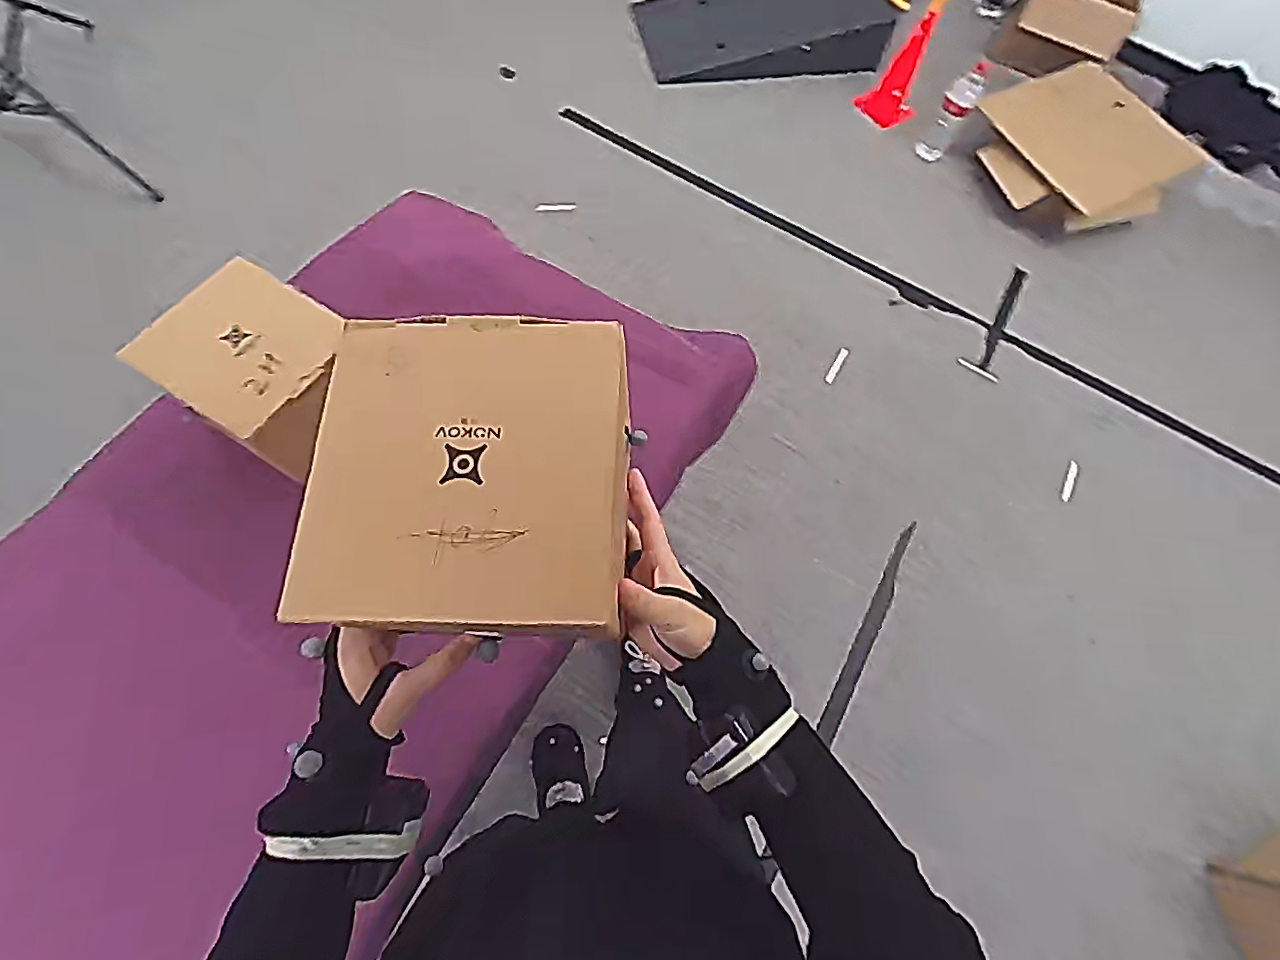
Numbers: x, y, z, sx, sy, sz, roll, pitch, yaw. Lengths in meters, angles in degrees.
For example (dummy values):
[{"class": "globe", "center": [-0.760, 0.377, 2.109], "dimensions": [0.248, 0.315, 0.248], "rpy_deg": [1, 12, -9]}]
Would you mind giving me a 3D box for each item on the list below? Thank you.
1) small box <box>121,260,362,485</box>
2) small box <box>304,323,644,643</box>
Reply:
[{"class": "small box", "center": [-0.435, -0.117, 0.654], "dimensions": [0.179, 0.176, 0.168], "rpy_deg": [31, 69, 5]}, {"class": "small box", "center": [-0.083, 0.015, 0.368], "dimensions": [0.168, 0.176, 0.179], "rpy_deg": [0, 72, 2]}]
